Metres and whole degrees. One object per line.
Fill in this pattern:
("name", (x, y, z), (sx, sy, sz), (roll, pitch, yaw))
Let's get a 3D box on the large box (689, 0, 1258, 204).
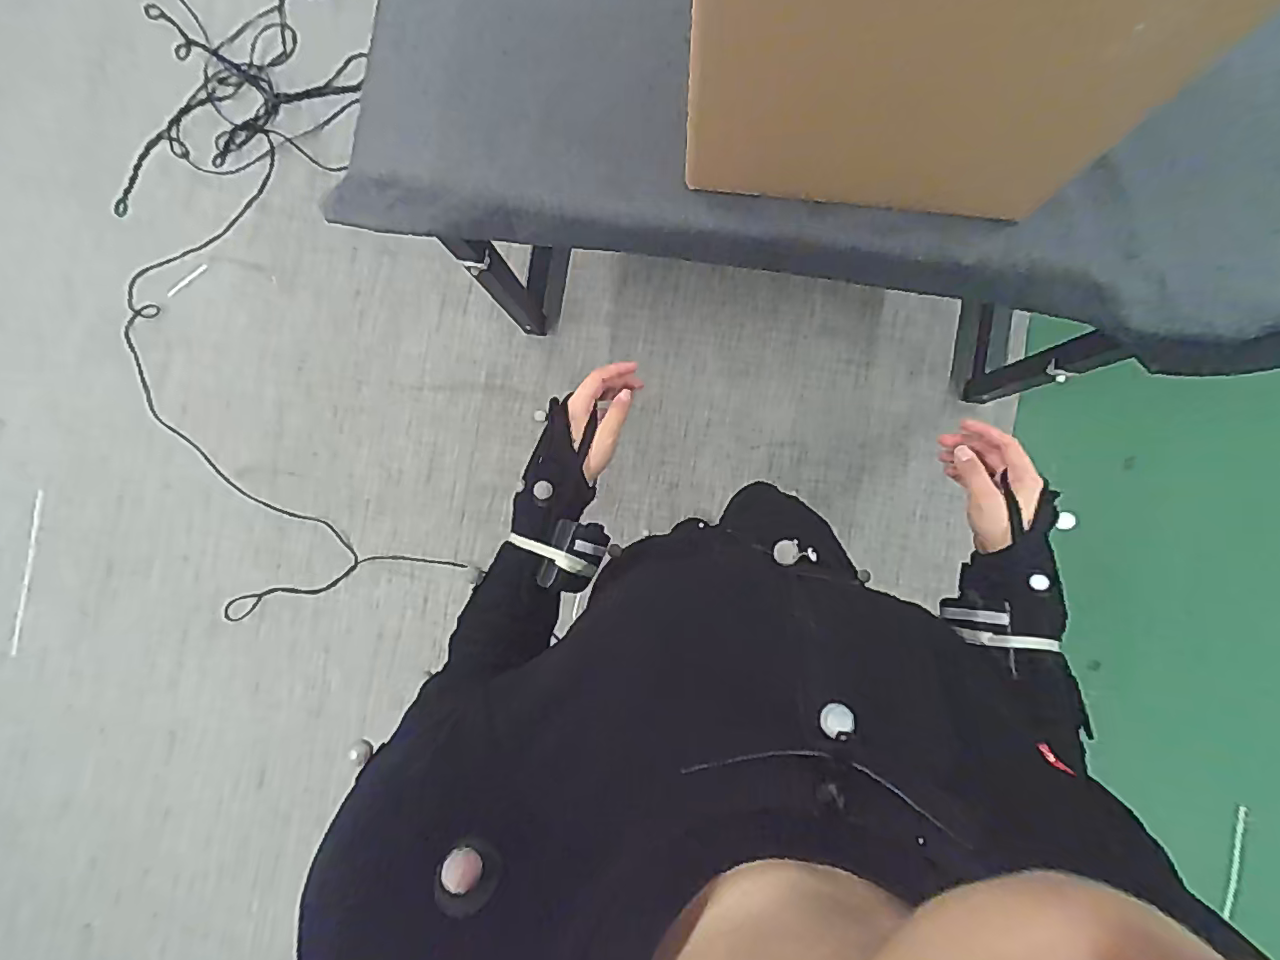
("large box", (0.263, -0.500, 0.509), (0.408, 0.320, 0.320), (7, 89, 3))
